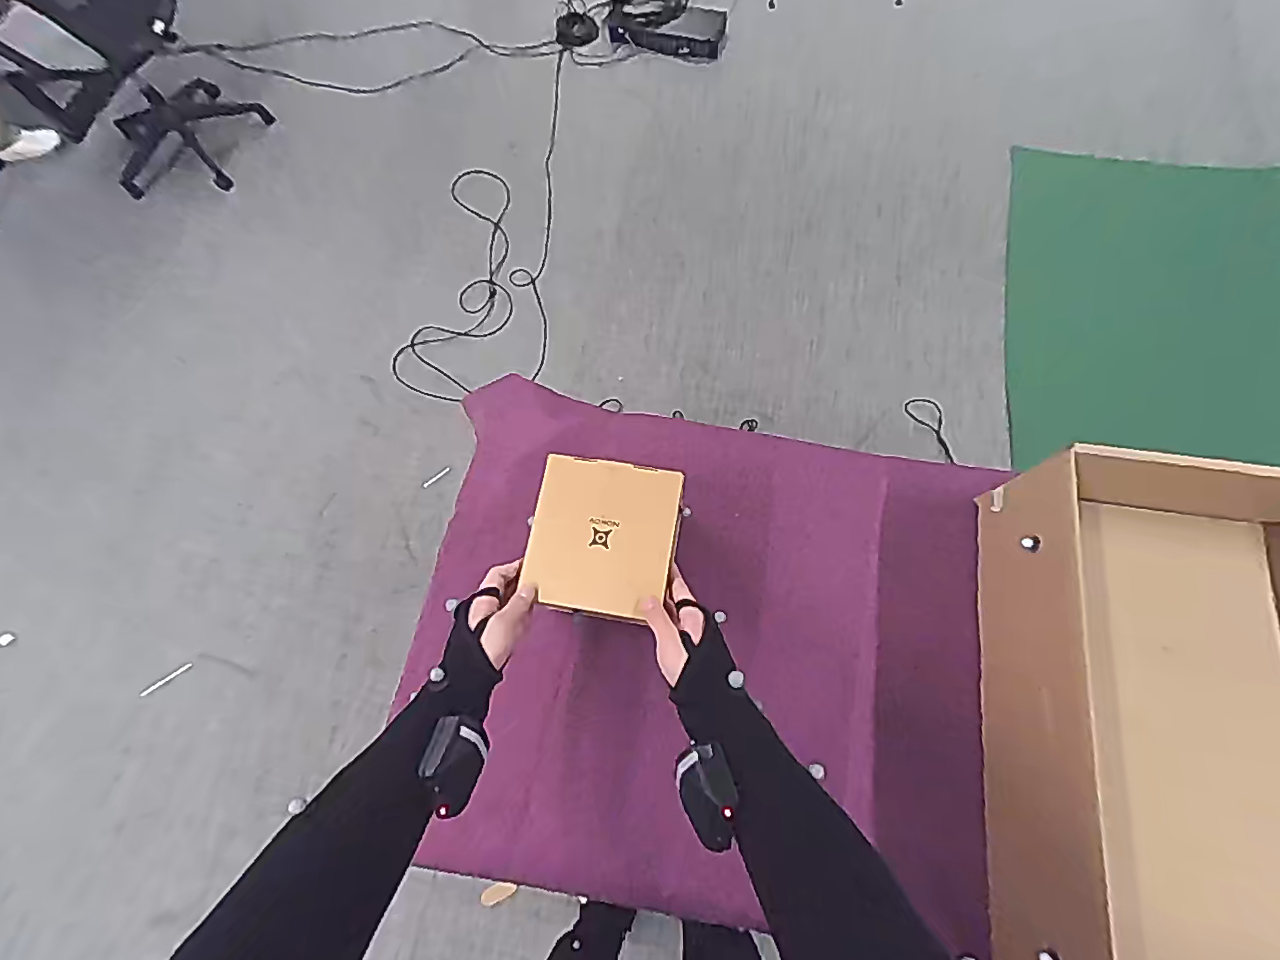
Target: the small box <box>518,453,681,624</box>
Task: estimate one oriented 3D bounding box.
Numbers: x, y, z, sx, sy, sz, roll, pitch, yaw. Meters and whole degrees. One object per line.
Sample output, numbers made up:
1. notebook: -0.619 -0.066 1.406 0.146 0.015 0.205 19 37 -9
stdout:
1. small box: -0.039 0.084 0.694 0.168 0.176 0.179 8 72 6
